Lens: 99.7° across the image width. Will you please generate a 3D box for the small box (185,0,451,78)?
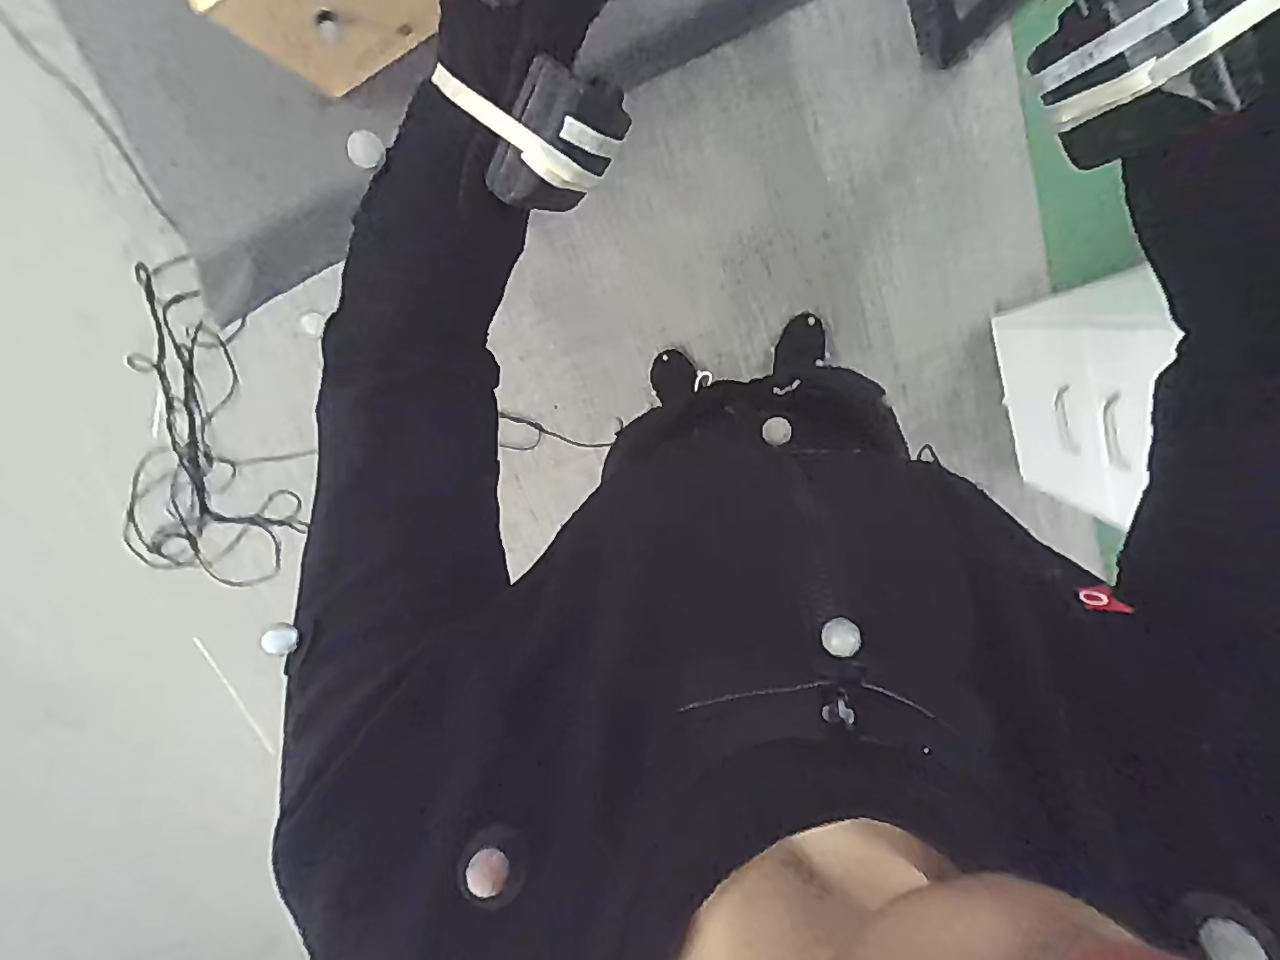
[{"bbox_3d":[-0.288,-0.473,0.439,0.168,0.176,0.179,-24,102,11],"label":"small box"}]
